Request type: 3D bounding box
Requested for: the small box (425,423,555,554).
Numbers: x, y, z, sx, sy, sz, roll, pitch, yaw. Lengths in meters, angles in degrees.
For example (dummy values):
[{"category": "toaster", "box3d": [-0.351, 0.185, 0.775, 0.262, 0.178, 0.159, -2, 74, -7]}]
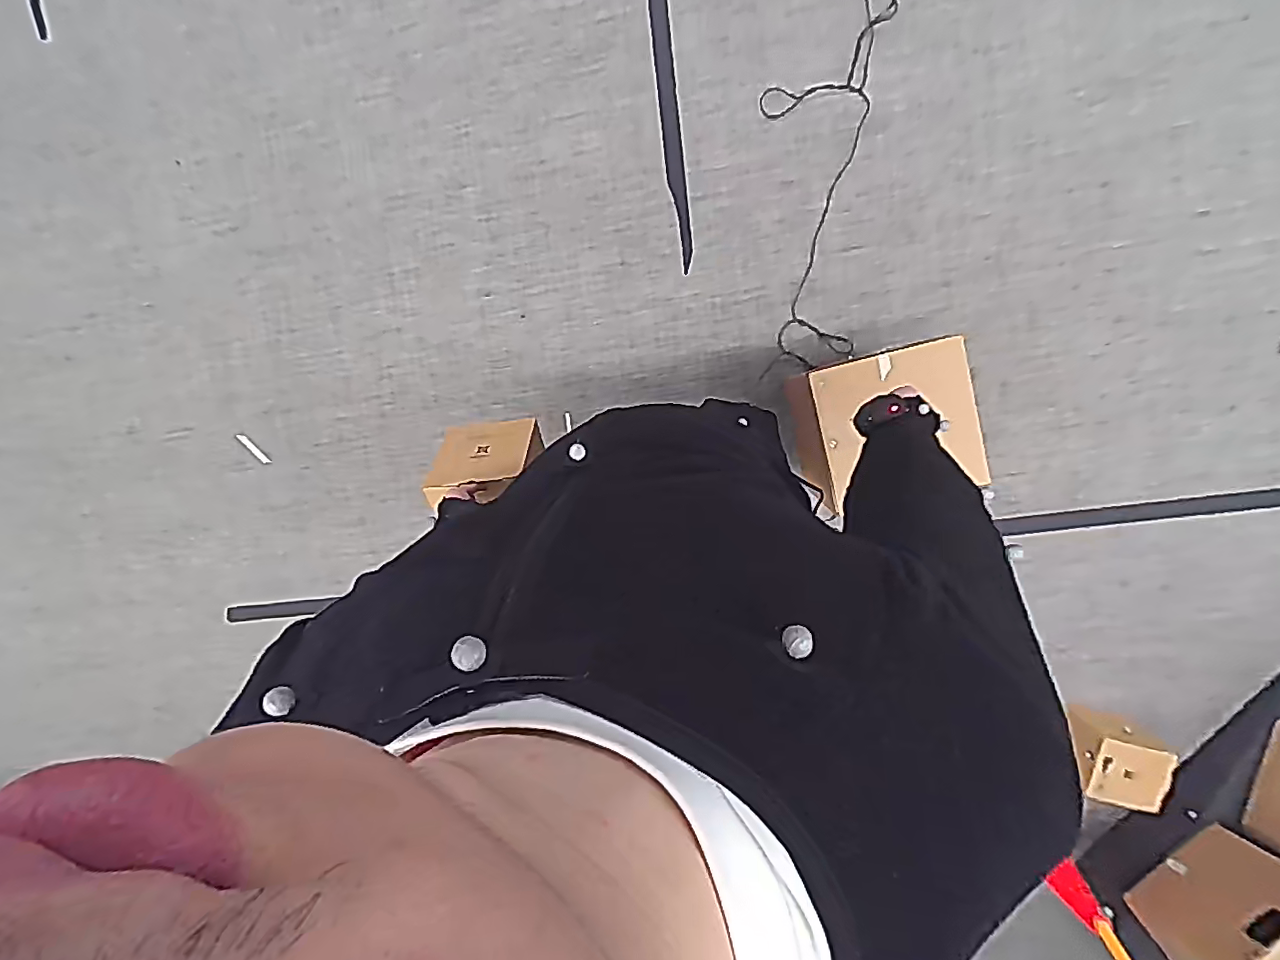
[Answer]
[{"category": "small box", "box3d": [-0.258, 0.022, 0.983, 0.168, 0.179, 0.176, -6, 129, 4]}]
